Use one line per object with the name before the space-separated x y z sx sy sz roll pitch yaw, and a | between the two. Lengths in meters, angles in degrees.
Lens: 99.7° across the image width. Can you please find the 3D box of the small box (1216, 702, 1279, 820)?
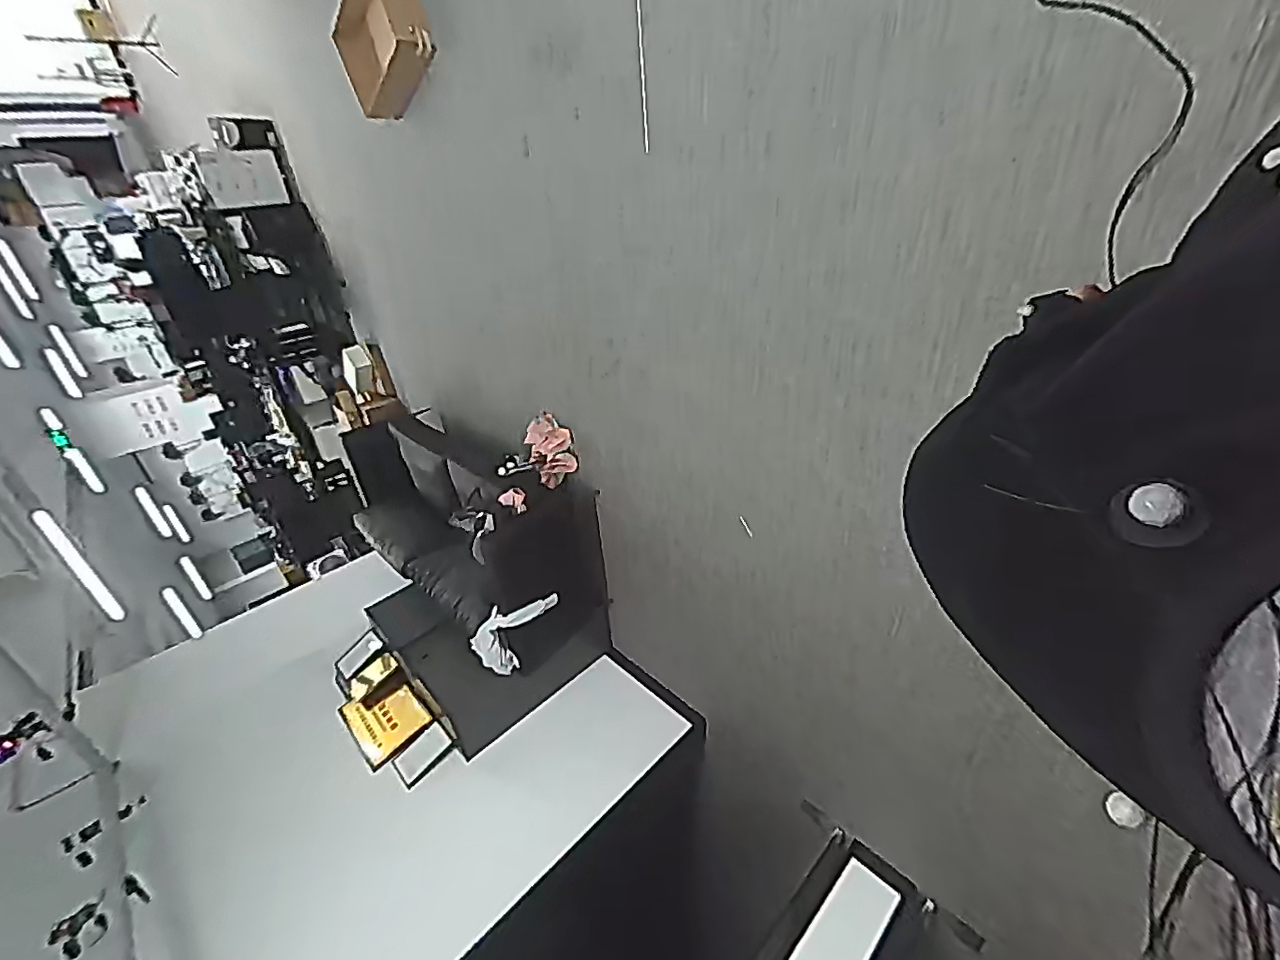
small box | 1.389 0.609 1.153 0.179 0.176 0.168 21 128 42
